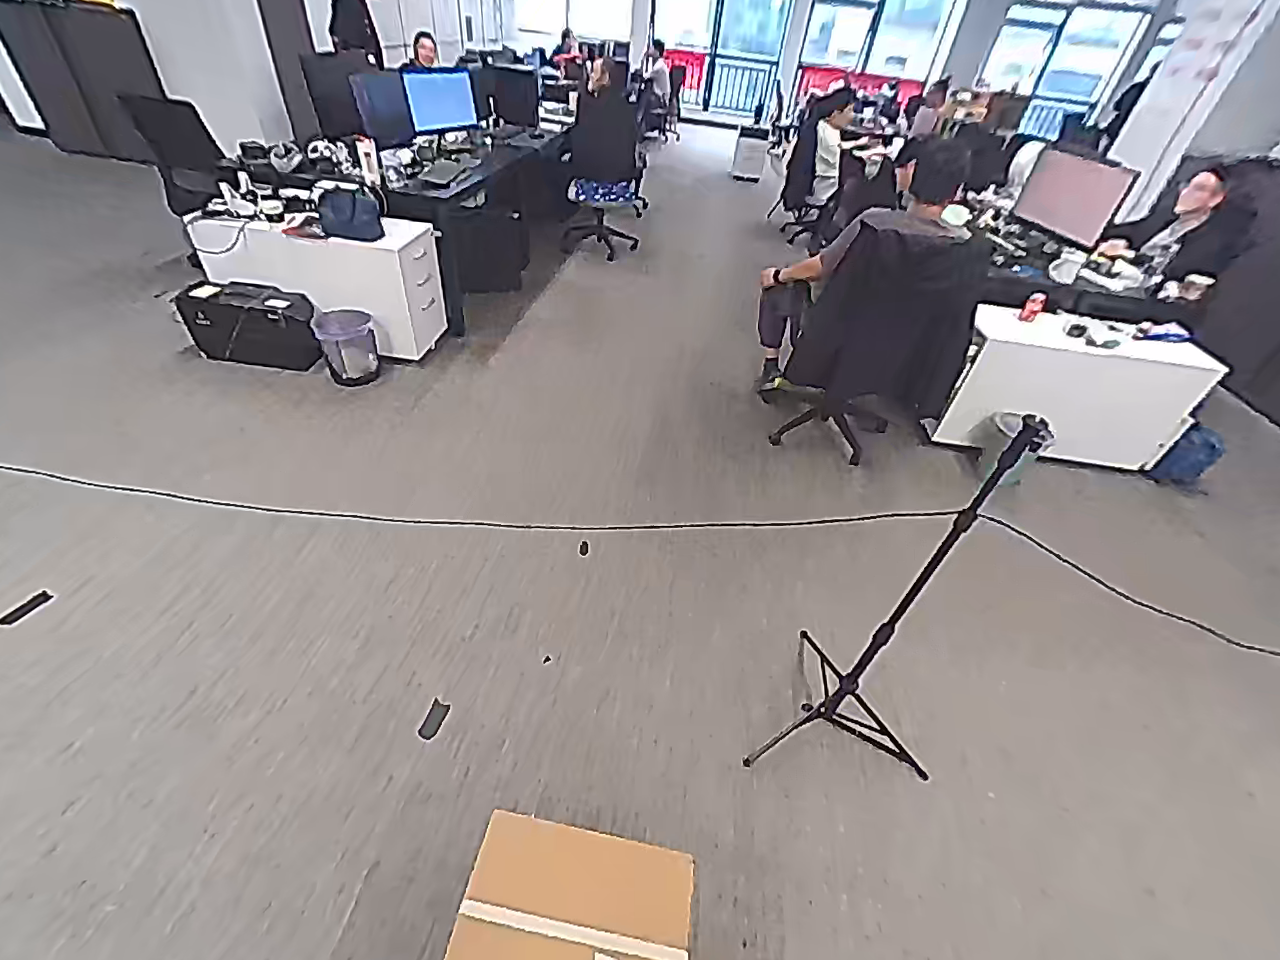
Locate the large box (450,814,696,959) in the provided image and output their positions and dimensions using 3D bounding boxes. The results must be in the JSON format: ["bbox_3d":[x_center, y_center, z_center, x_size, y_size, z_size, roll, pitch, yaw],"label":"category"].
[{"bbox_3d":[-0.128,0.899,1.034,0.408,0.320,0.320,11,41,3],"label":"large box"}]
